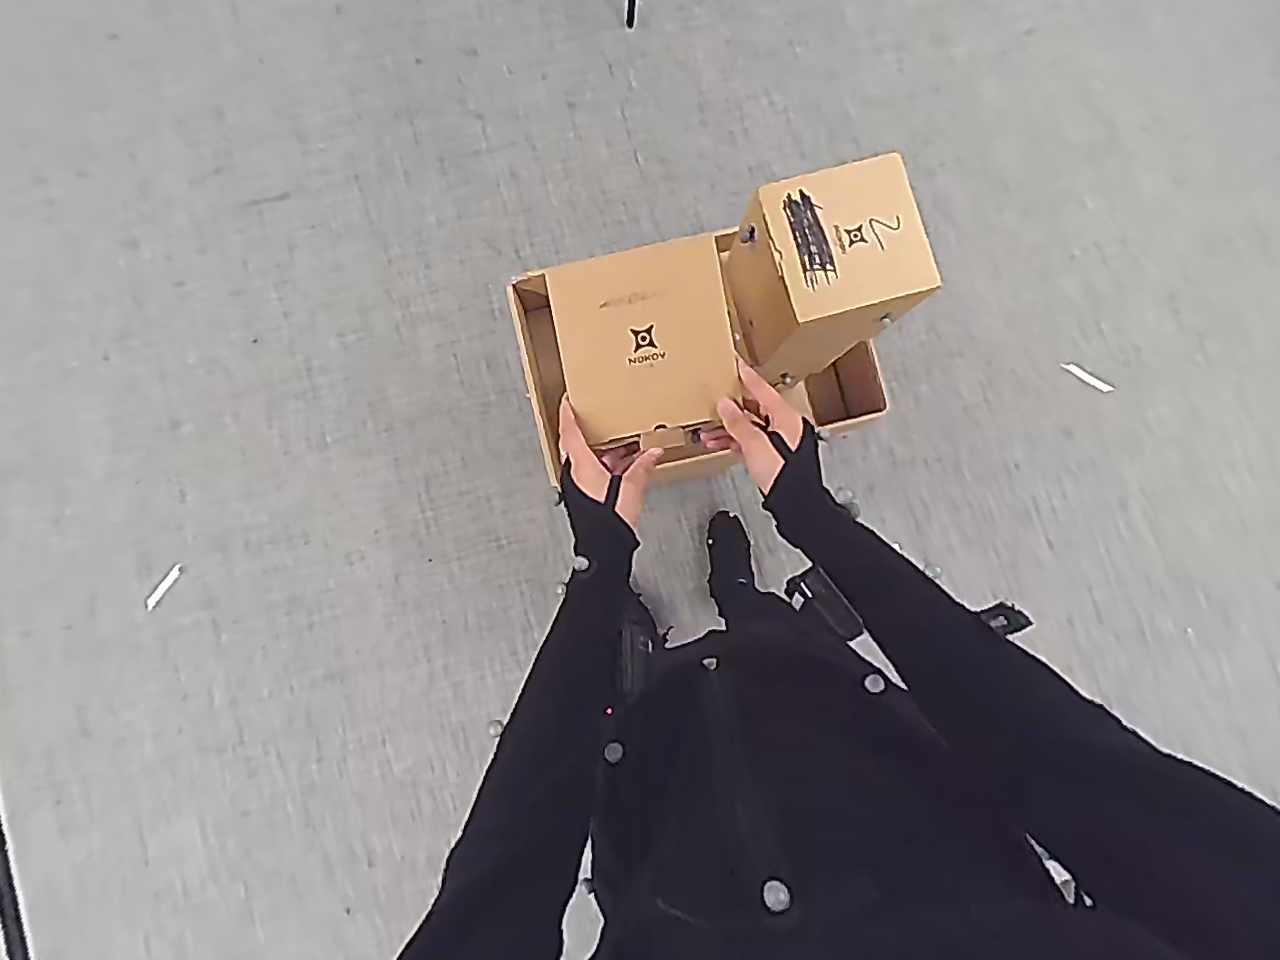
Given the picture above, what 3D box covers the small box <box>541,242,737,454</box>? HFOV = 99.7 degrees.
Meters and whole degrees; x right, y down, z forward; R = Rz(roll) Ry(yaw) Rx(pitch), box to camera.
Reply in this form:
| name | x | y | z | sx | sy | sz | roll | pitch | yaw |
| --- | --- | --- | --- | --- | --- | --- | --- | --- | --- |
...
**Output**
| name | x | y | z | sx | sy | sz | roll | pitch | yaw |
| --- | --- | --- | --- | --- | --- | --- | --- | --- | --- |
| small box | 0.005 | -0.130 | 0.592 | 0.168 | 0.176 | 0.179 | -10 | 94 | 3 |
